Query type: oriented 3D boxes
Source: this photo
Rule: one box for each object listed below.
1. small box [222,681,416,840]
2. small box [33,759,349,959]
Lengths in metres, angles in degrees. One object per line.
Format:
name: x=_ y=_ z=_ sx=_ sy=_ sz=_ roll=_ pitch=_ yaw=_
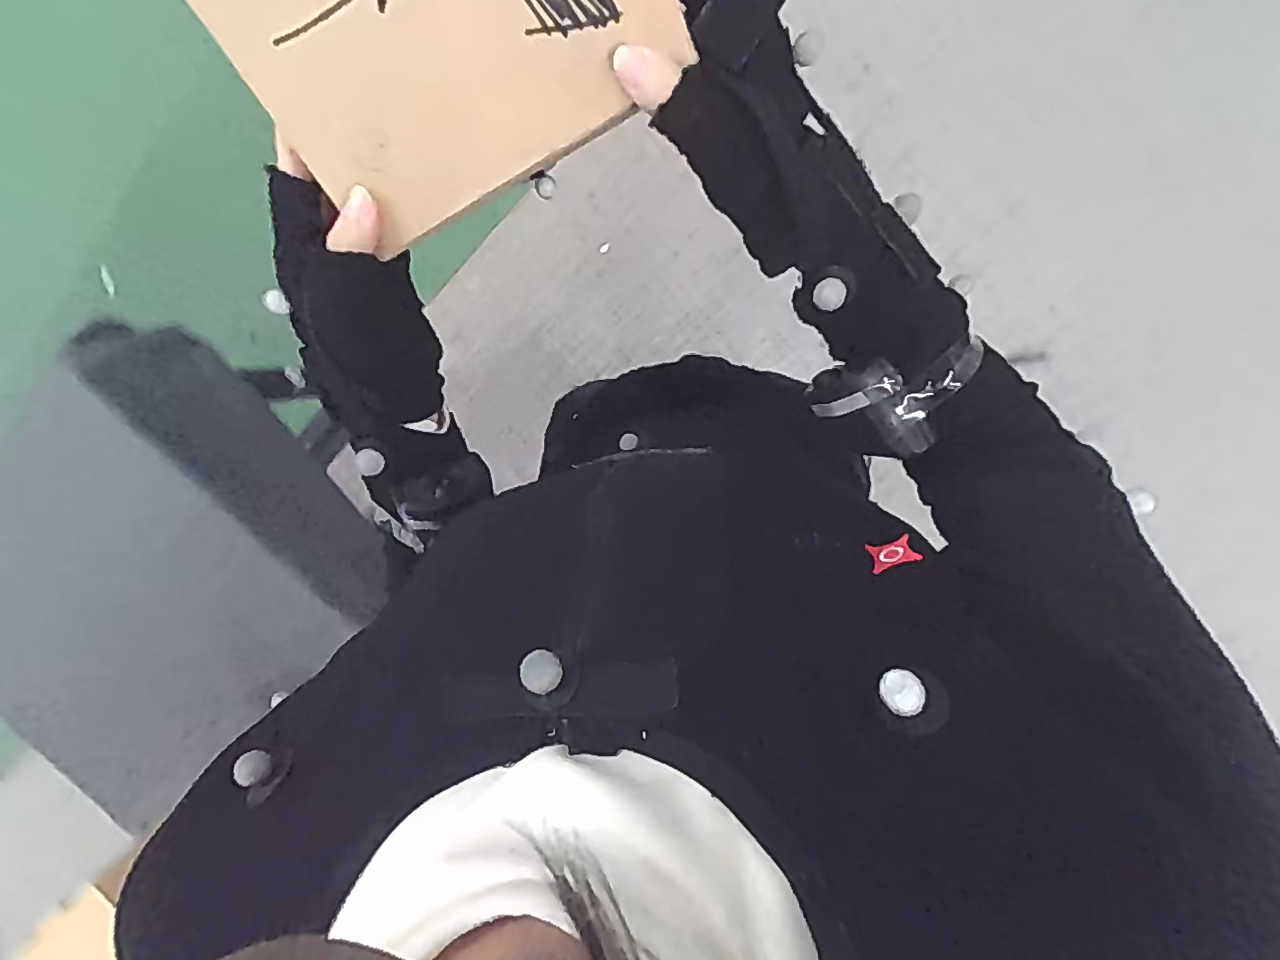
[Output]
small box: x=-0.461 y=0.414 z=0.759 sx=0.179 sy=0.176 sz=0.168 roll=44 pitch=106 yaw=-5
small box: x=-0.477 y=0.447 z=0.600 sx=0.168 sy=0.176 sz=0.179 roll=-42 pitch=94 yaw=16
